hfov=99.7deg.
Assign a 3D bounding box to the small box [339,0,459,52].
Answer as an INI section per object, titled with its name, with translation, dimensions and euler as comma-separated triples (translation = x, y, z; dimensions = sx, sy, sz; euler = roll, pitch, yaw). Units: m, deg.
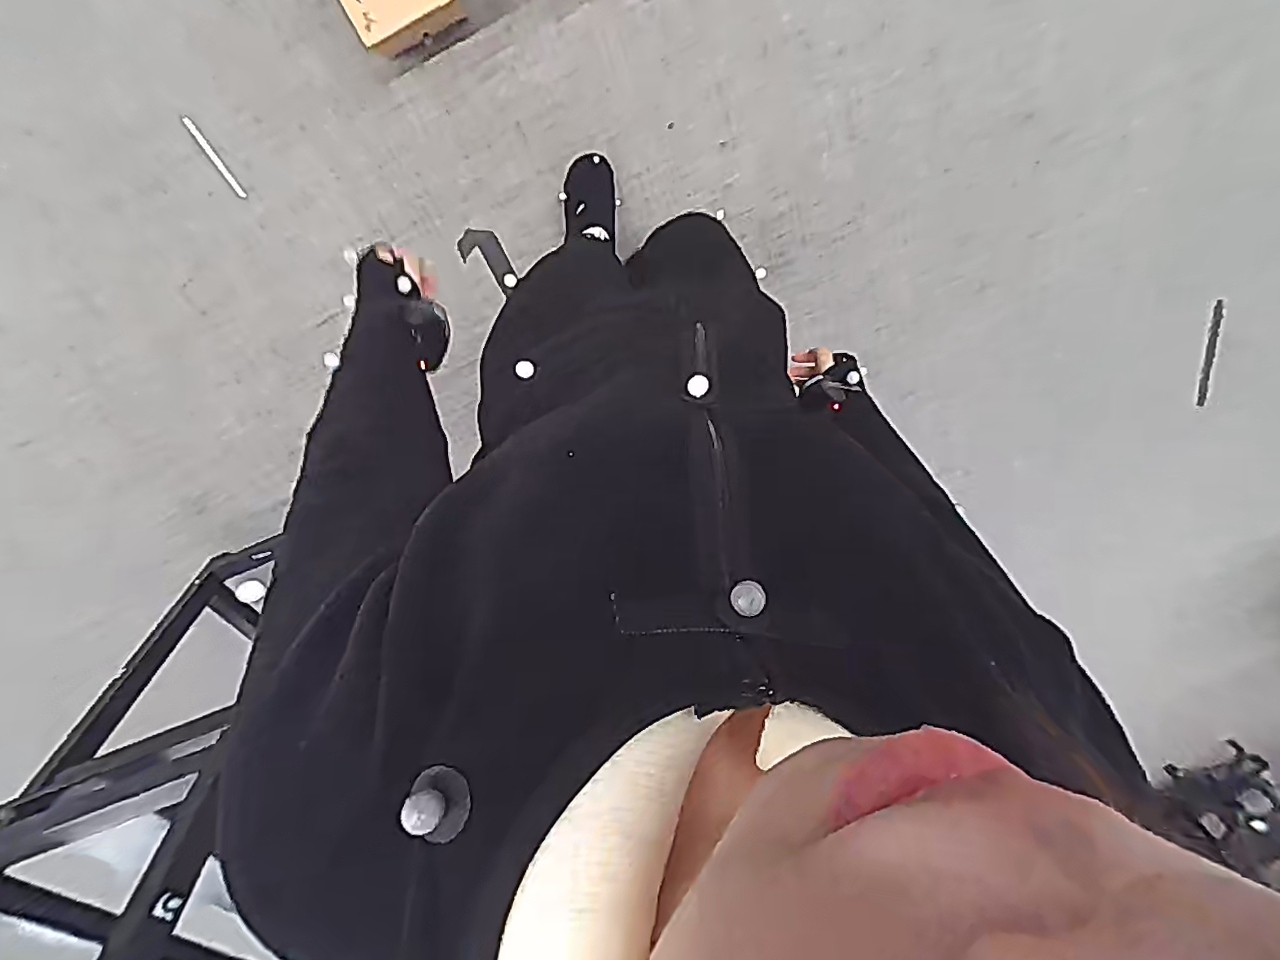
[small box]
translation = -0.425, -0.864, 0.915
dimensions = 0.179, 0.176, 0.168
euler = -23, 124, 6
